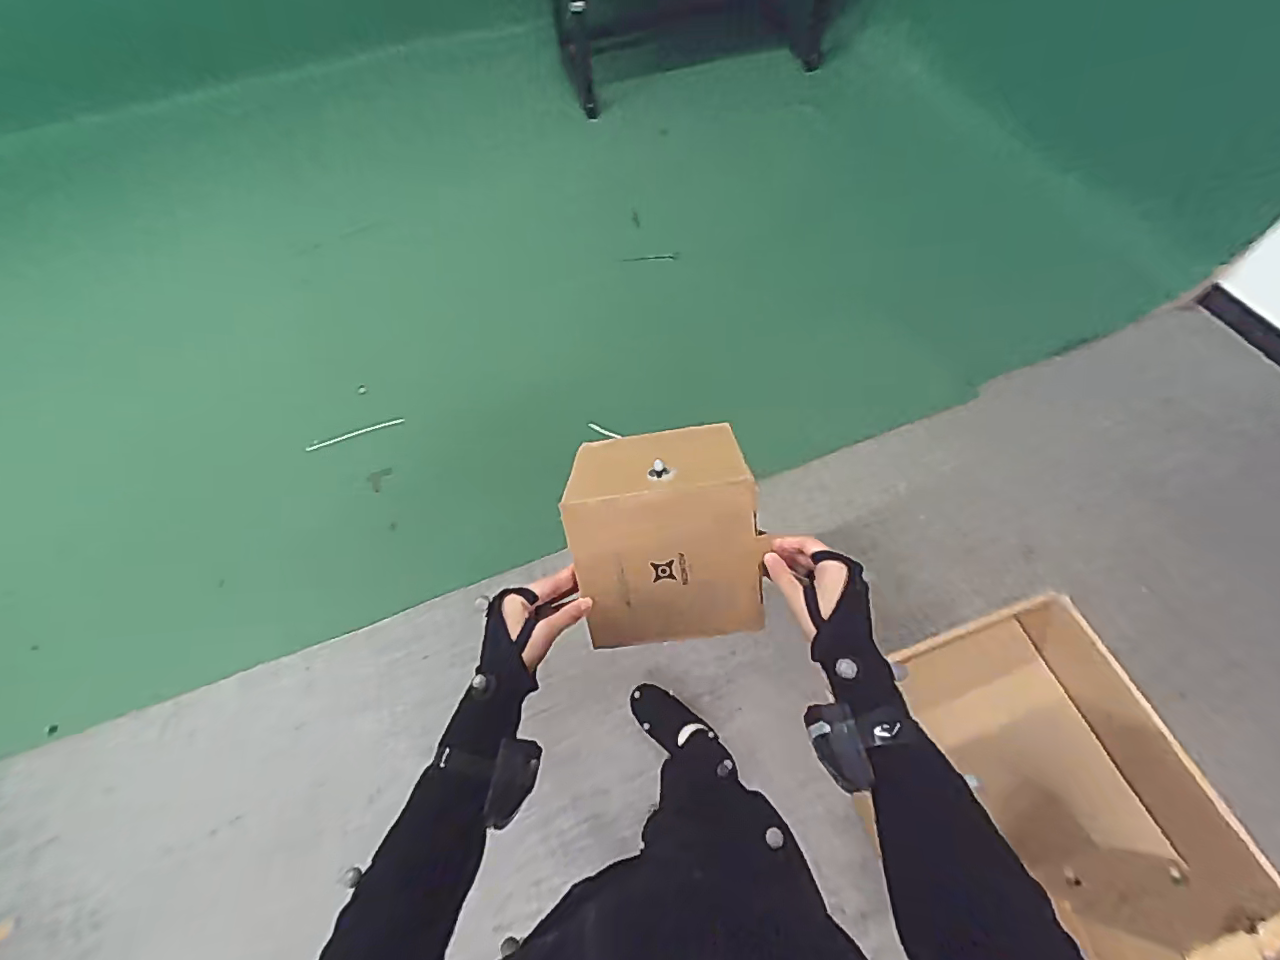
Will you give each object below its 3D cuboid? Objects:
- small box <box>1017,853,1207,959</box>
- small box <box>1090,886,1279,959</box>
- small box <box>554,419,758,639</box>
[{"bbox_3d":[0.640,0.613,0.705,0.179,0.176,0.168,-14,62,-4],"label":"small box"},{"bbox_3d":[0.632,0.547,0.554,0.168,0.176,0.179,-16,62,-4],"label":"small box"},{"bbox_3d":[0.018,0.042,0.579,0.179,0.168,0.176,-8,22,4],"label":"small box"}]
